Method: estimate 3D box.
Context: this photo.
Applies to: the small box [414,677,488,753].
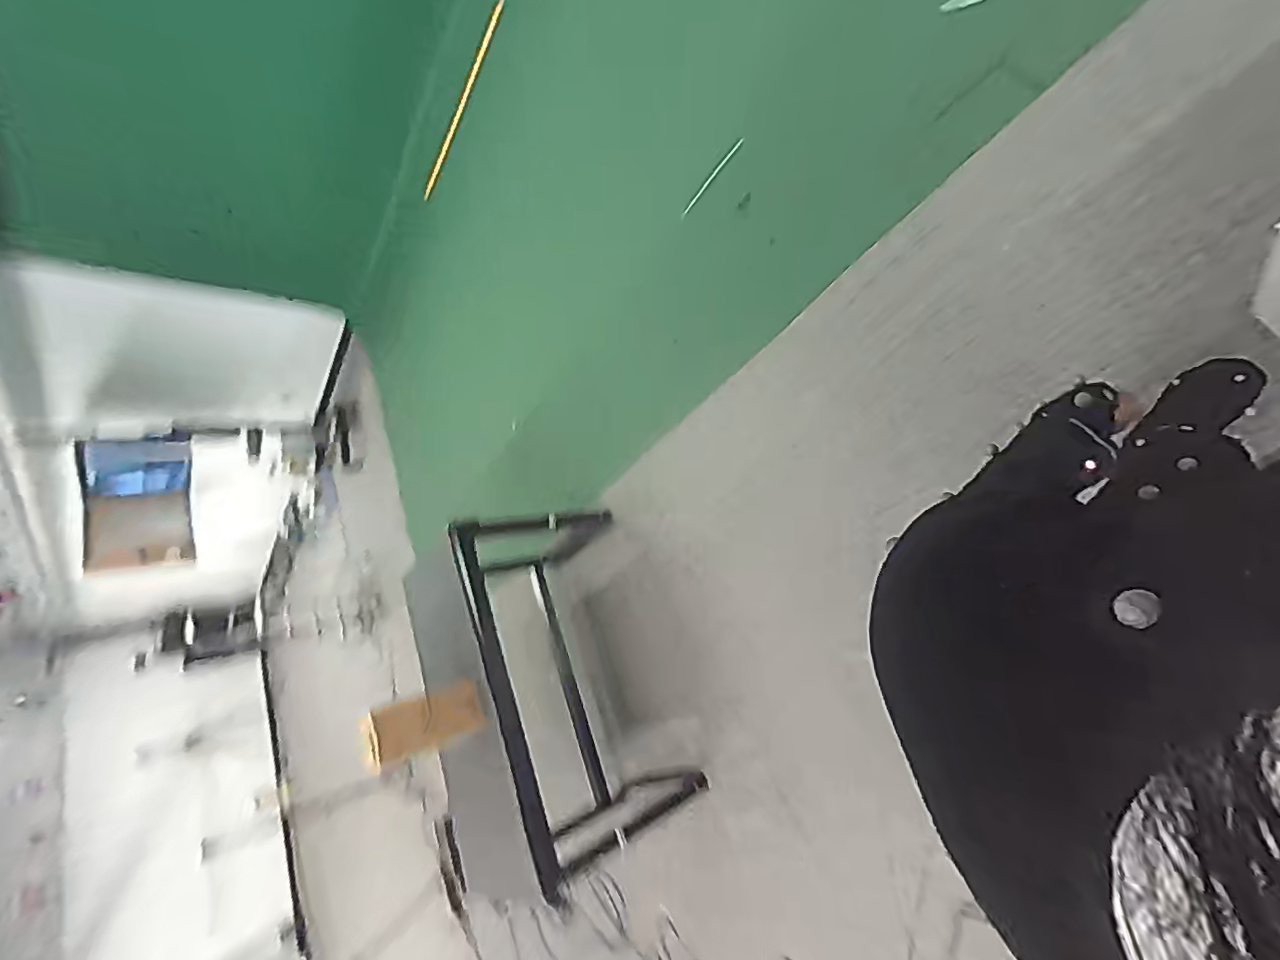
[{"bbox_3d":[-0.622,0.774,1.785,0.179,0.176,0.168,-43,62,41],"label":"small box"}]
